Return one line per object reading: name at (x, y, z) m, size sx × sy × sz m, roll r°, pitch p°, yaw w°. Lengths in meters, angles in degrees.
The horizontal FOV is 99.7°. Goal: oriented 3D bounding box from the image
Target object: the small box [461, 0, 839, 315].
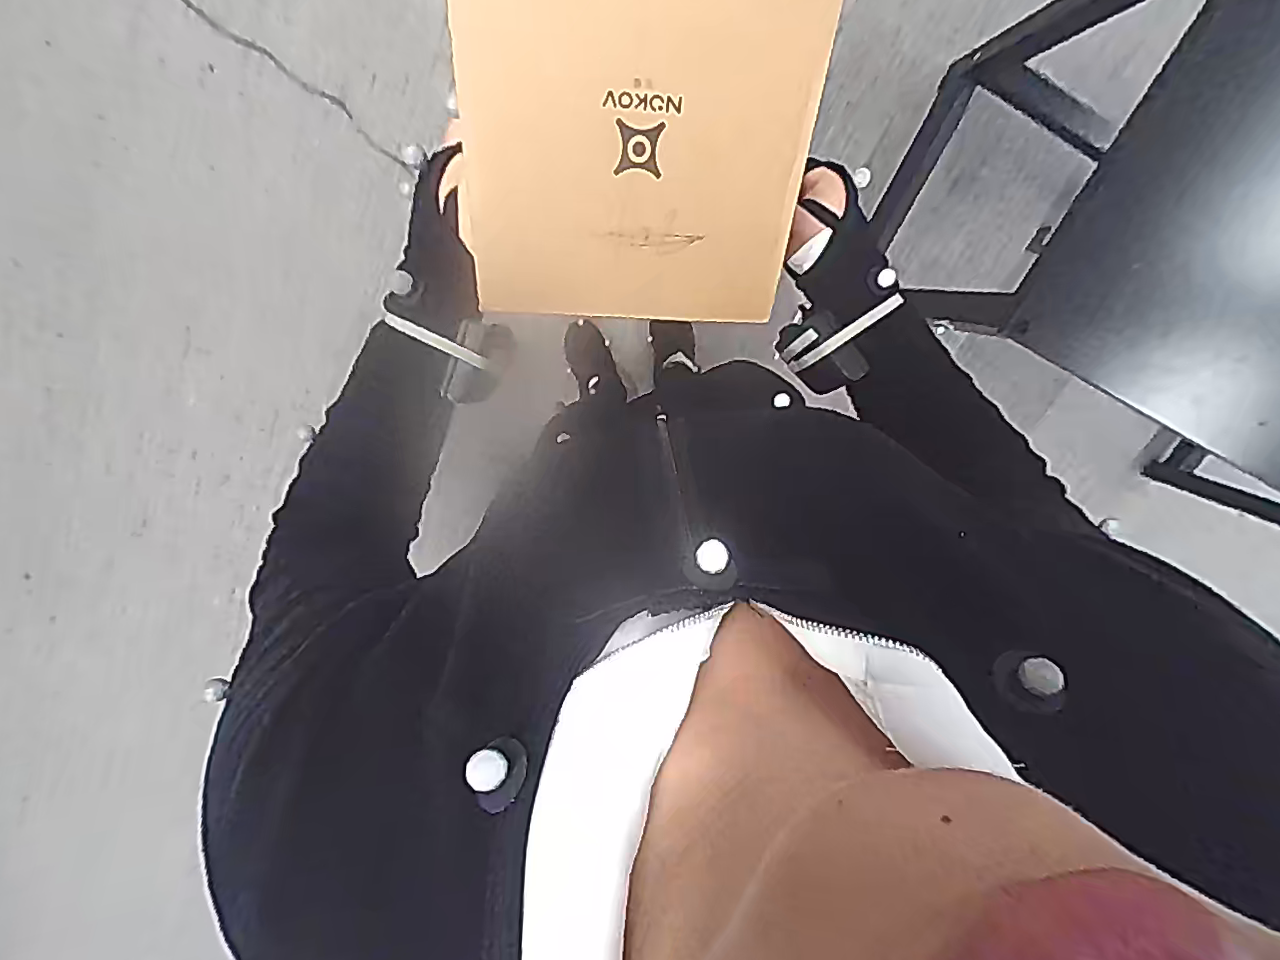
small box at (-0.005, -0.216, 0.323) m, size 0.168 × 0.176 × 0.179 m, roll 1°, pitch 128°, yaw -6°
